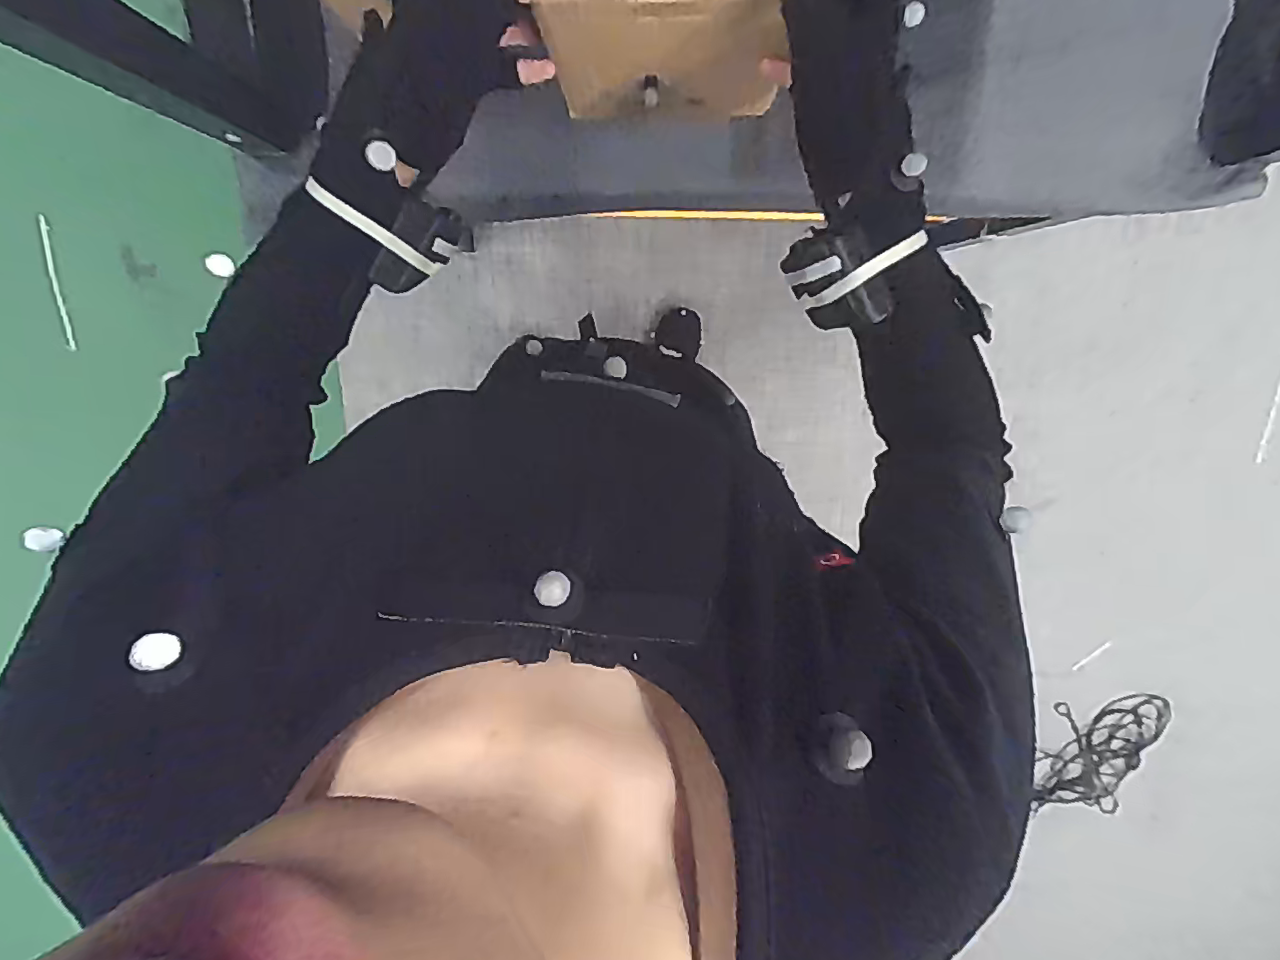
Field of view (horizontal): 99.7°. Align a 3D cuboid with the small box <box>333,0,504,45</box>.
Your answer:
[{"bbox_3d":[-0.225,-0.543,0.490,0.168,0.176,0.179,0,105,-1],"label":"small box"}]
